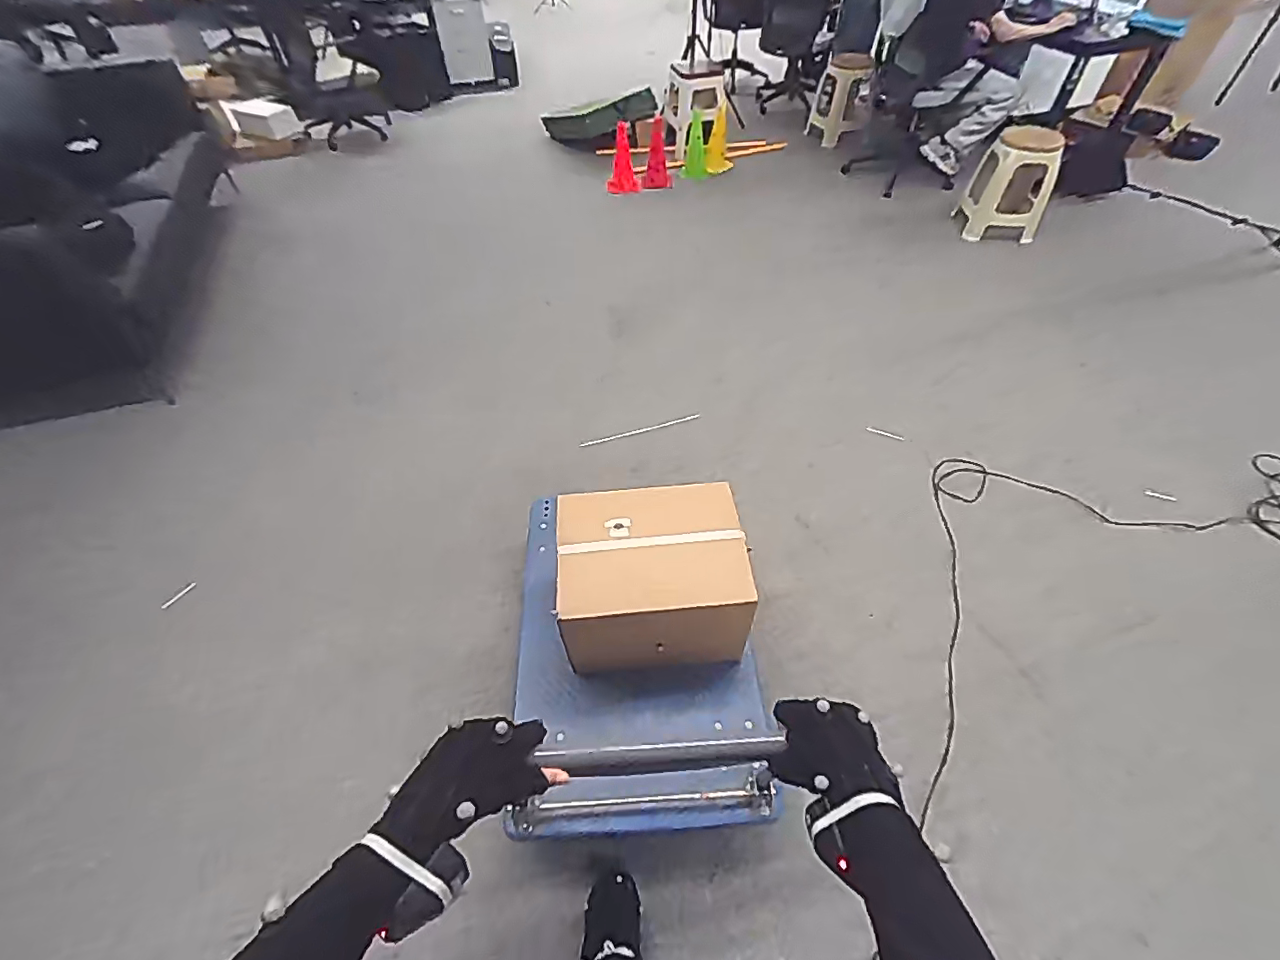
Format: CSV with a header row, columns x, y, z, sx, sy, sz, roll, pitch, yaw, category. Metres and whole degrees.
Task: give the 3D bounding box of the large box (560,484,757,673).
x,y,z,sx,sy,sz,roll,pitch,yaw,category
0.034,0.240,1.292,0.408,0.320,0.320,-6,50,-1,large box
